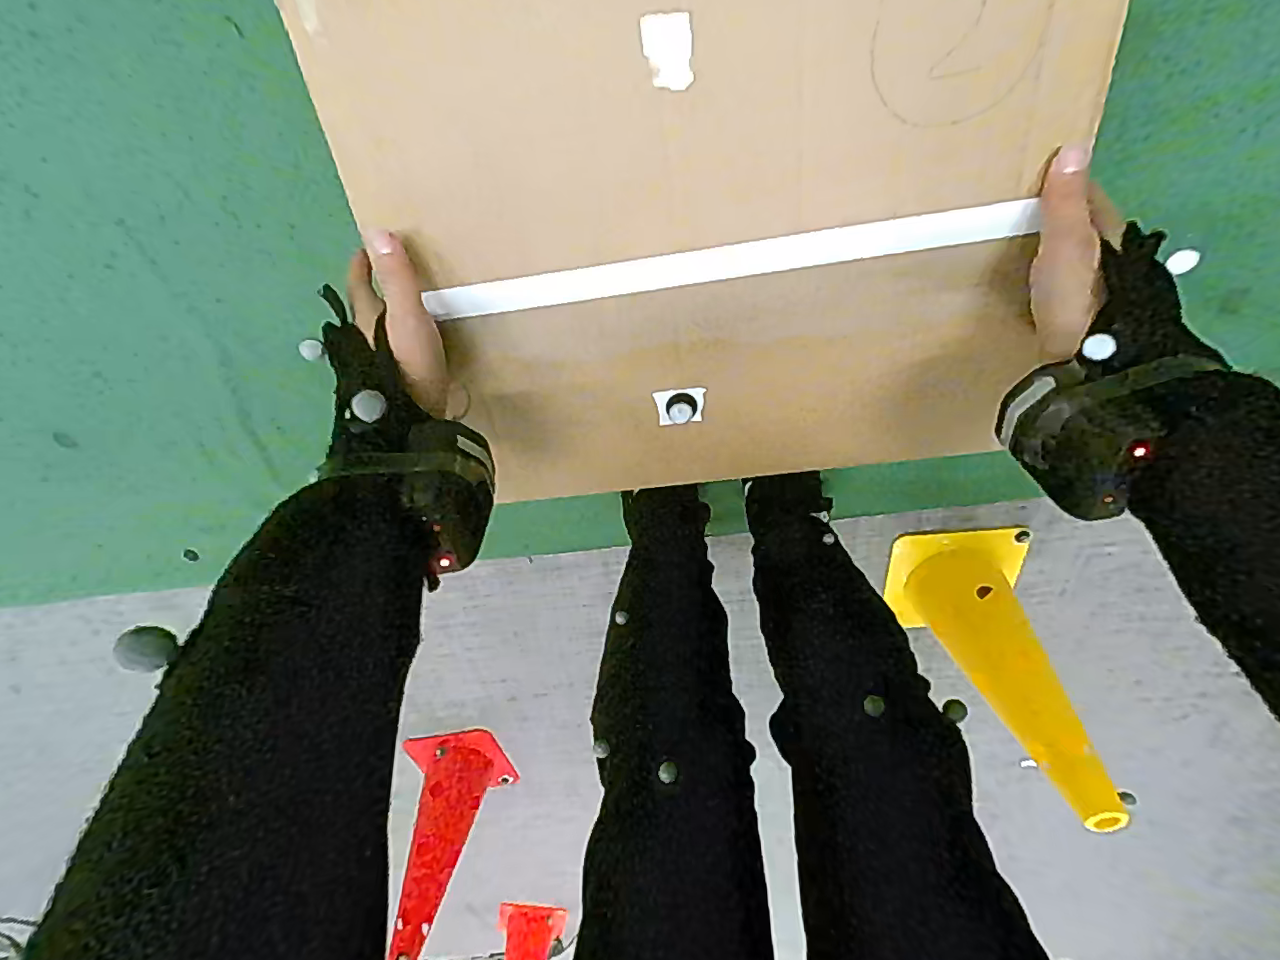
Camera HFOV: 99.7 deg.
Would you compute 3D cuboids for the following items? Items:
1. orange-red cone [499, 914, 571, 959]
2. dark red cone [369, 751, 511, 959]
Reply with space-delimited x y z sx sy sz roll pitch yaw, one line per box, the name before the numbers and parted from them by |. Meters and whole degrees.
orange-red cone | -0.317 1.406 1.428 0.199 0.360 0.198 11 120 -3
dark red cone | -0.394 0.707 0.976 0.202 0.394 0.201 -13 117 10
